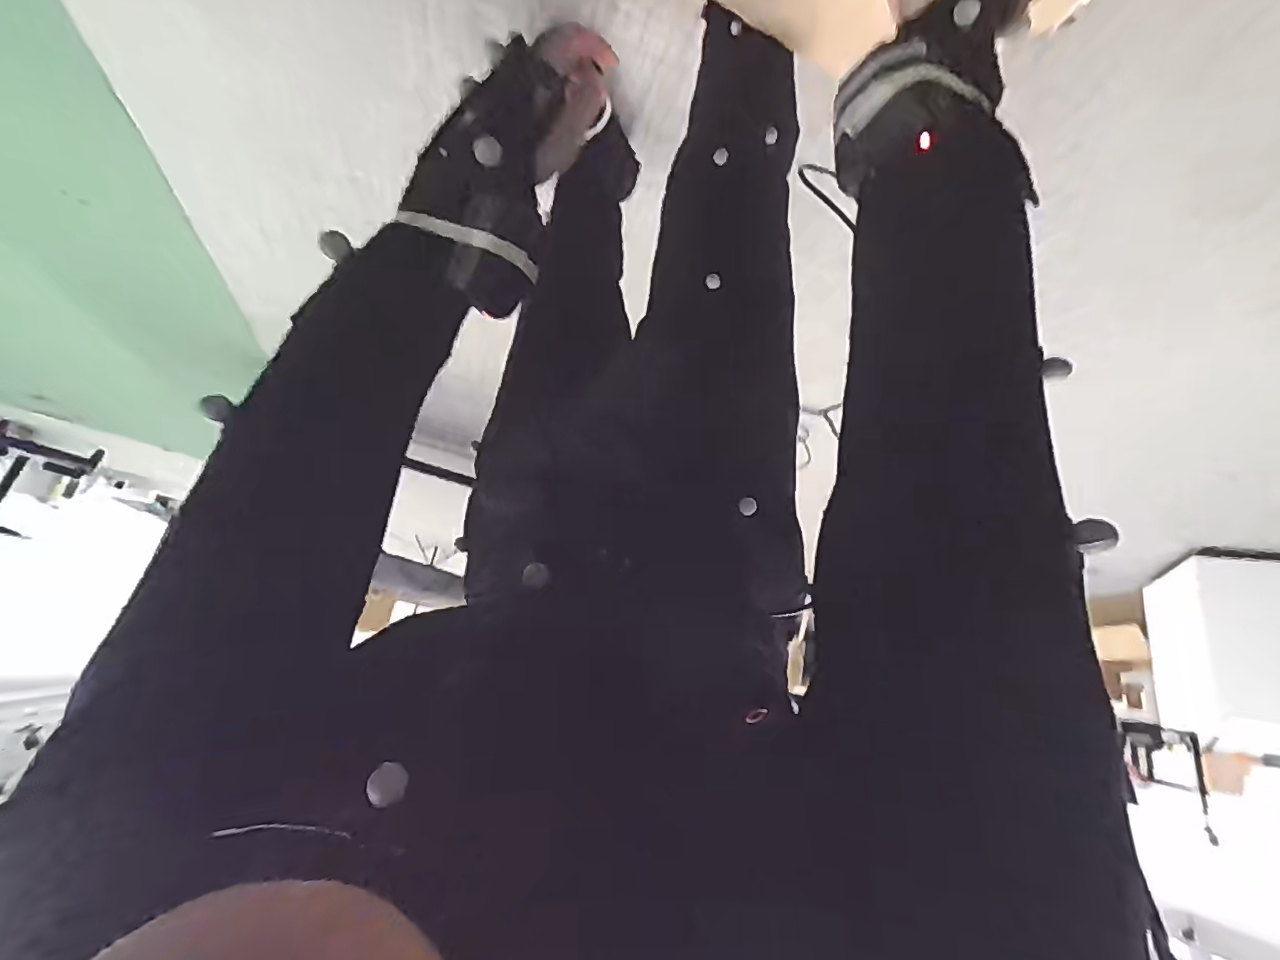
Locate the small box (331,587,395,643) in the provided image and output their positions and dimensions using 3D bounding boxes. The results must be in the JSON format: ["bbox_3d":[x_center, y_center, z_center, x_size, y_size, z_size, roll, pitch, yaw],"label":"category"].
[{"bbox_3d":[-1.026,0.506,2.018,0.168,0.176,0.179,18,157,-18],"label":"small box"}]
